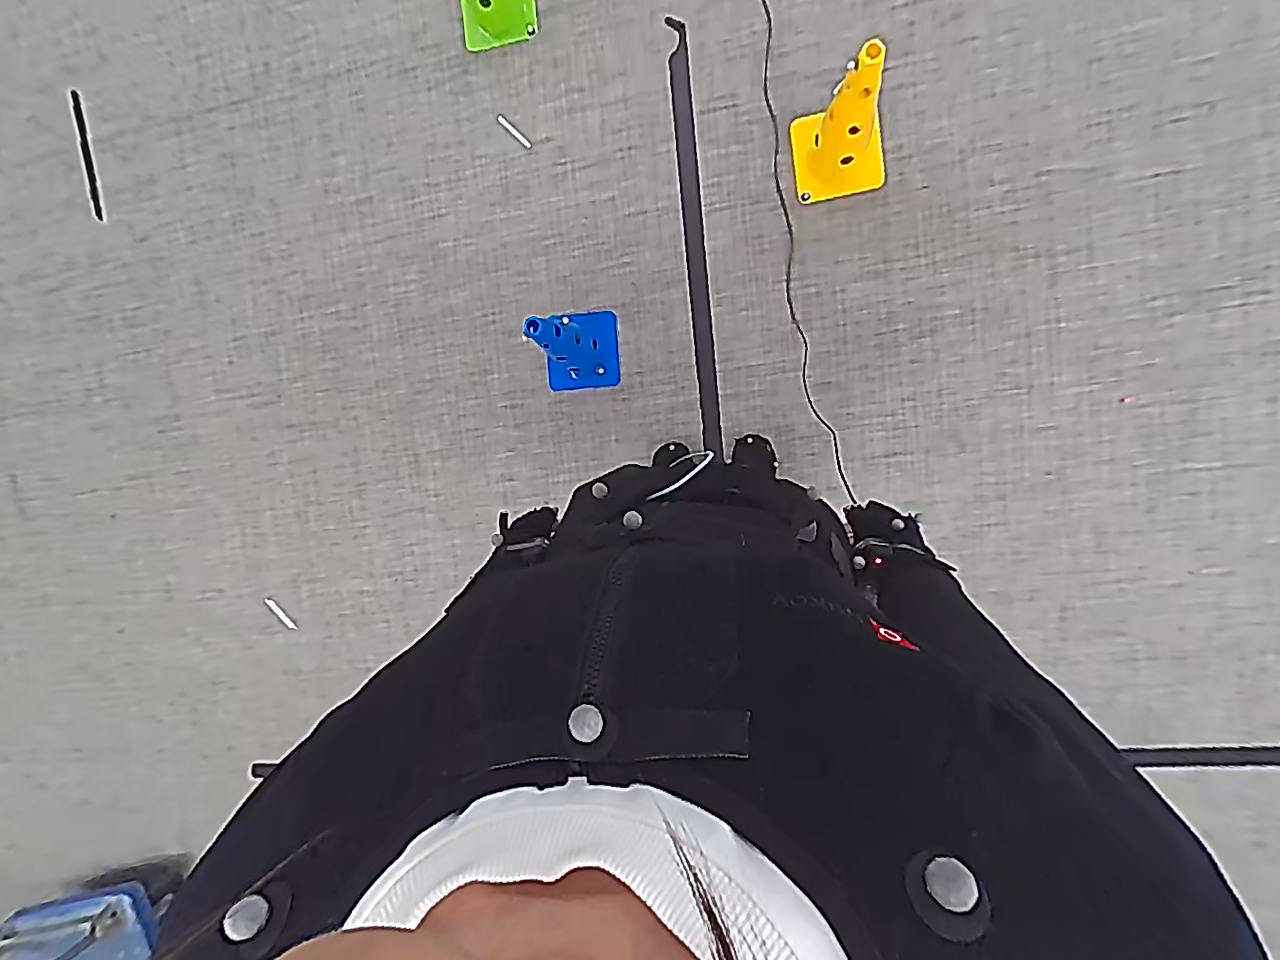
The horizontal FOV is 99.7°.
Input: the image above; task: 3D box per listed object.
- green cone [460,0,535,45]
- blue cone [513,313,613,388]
[{"bbox_3d":[-0.404,-1.227,1.223,0.202,0.368,0.200,-5,95,12],"label":"green cone"},{"bbox_3d":[-0.198,-0.333,1.286,0.192,0.380,0.193,-1,95,11],"label":"blue cone"}]
